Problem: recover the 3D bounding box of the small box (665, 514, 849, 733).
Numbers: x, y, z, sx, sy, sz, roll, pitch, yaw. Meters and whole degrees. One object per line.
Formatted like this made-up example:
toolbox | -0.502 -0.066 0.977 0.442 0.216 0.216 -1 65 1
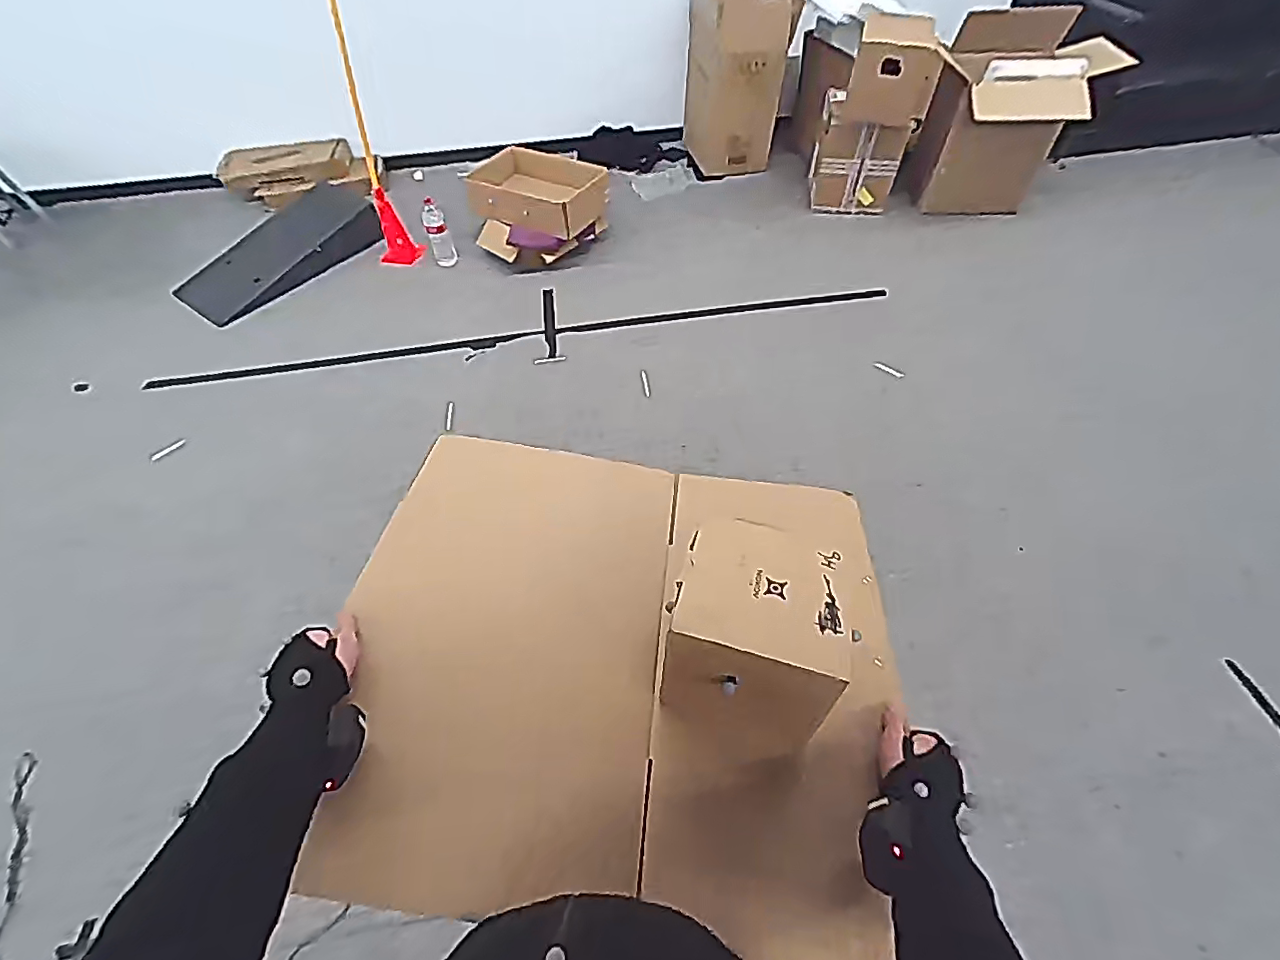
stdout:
small box | 0.131 0.169 0.631 0.179 0.176 0.168 12 47 11
